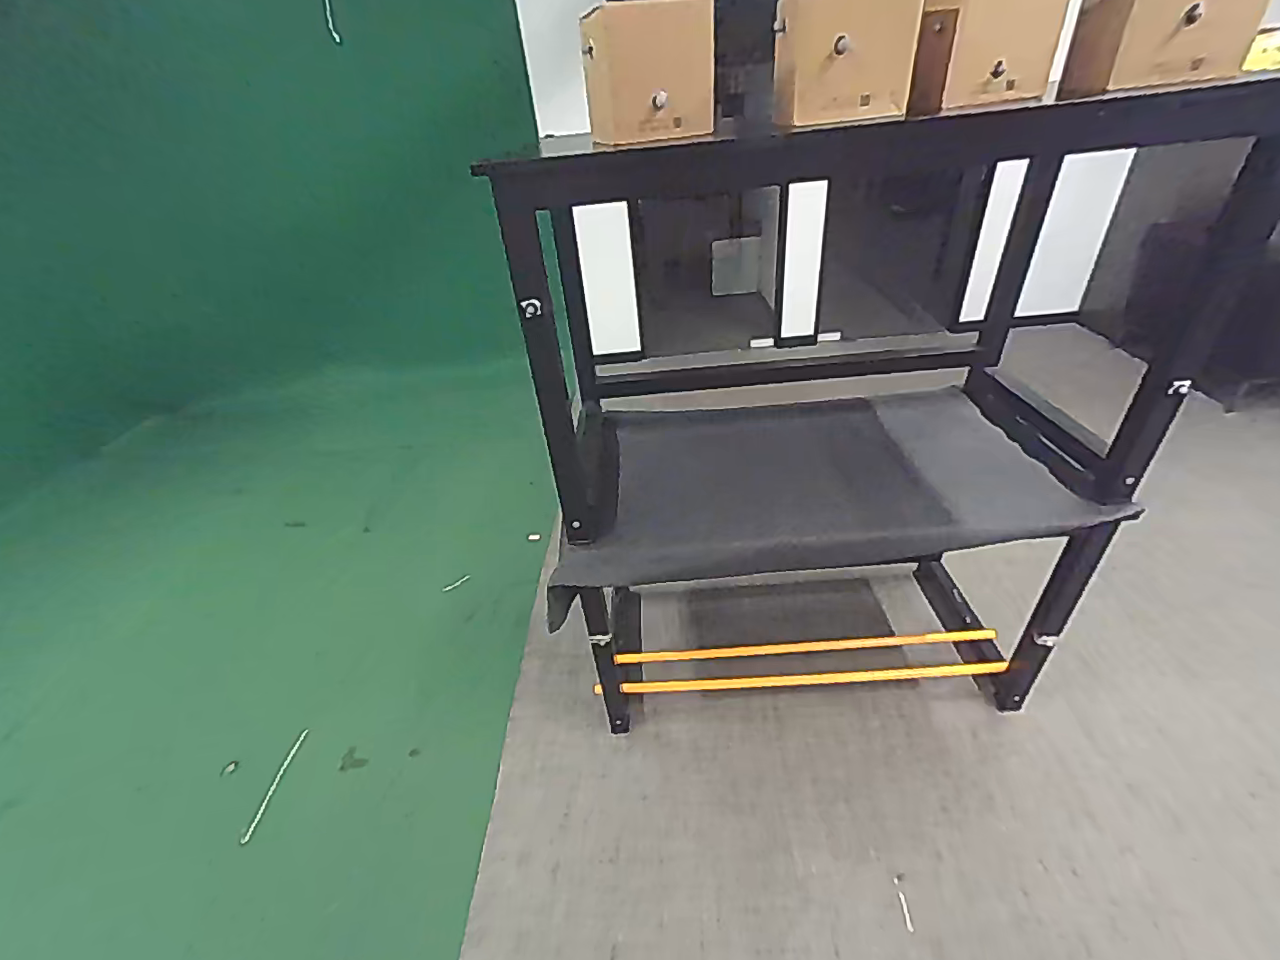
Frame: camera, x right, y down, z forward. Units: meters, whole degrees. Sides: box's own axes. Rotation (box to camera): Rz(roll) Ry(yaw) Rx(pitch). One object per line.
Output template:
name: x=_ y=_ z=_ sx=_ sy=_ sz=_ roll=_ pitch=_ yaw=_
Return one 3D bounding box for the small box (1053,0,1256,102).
small box: x=0.768 y=-0.680 z=0.811 sx=0.168 sy=0.176 sz=0.179 roll=2 pitch=35 yaw=12

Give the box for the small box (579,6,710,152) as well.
small box: x=0.005 y=-0.630 z=0.863 sx=0.168 sy=0.176 sz=0.179 roll=-13 pitch=36 yaw=-10
